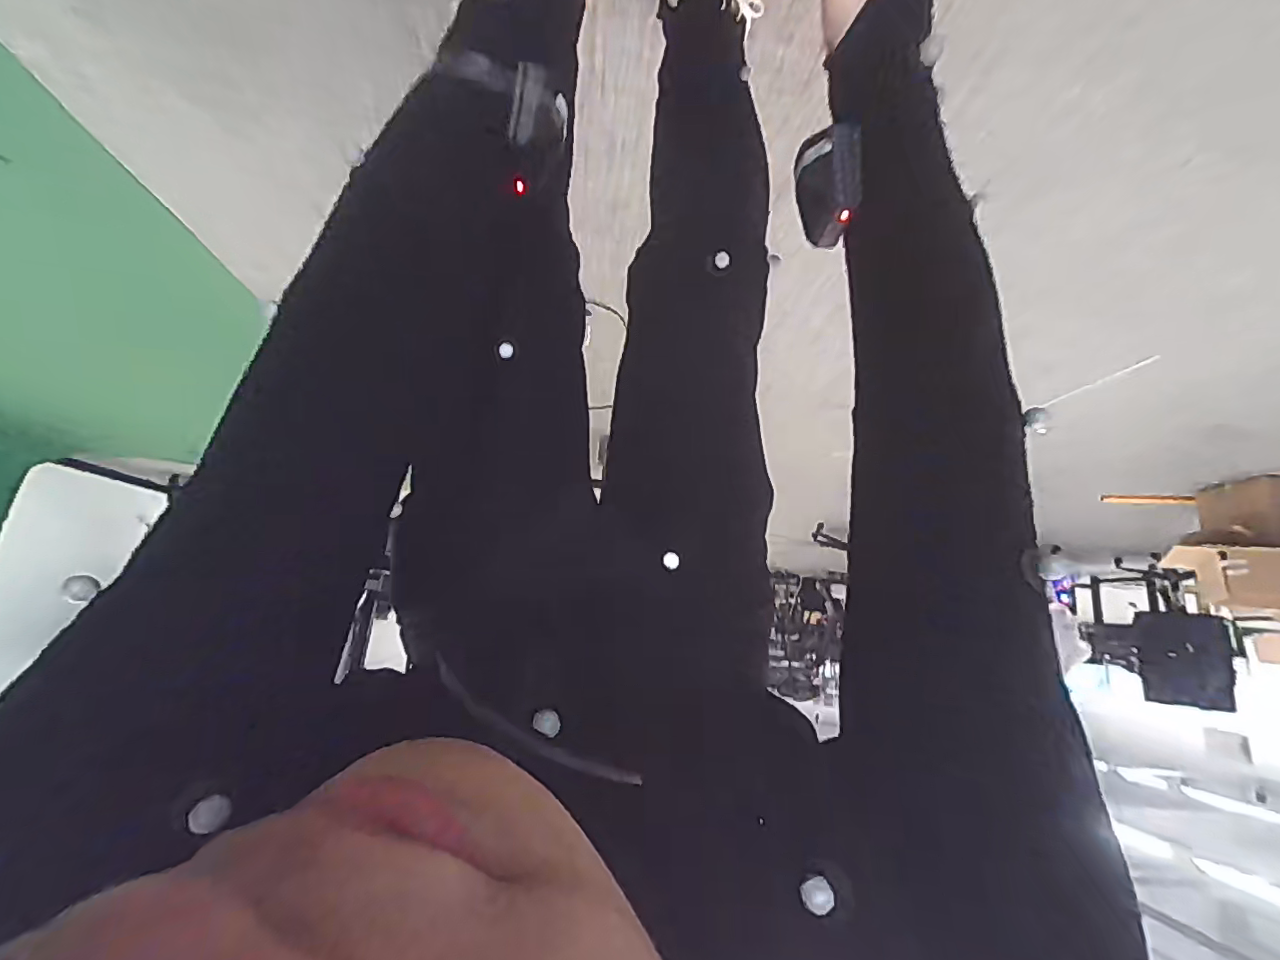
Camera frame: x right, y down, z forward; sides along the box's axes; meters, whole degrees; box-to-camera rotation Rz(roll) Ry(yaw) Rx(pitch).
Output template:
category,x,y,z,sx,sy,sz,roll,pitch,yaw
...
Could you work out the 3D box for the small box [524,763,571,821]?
category,x,y,z,sx,sy,sz,roll,pitch,yaw
small box,-0.384,1.303,2.269,0.179,0.176,0.168,8,166,-5
